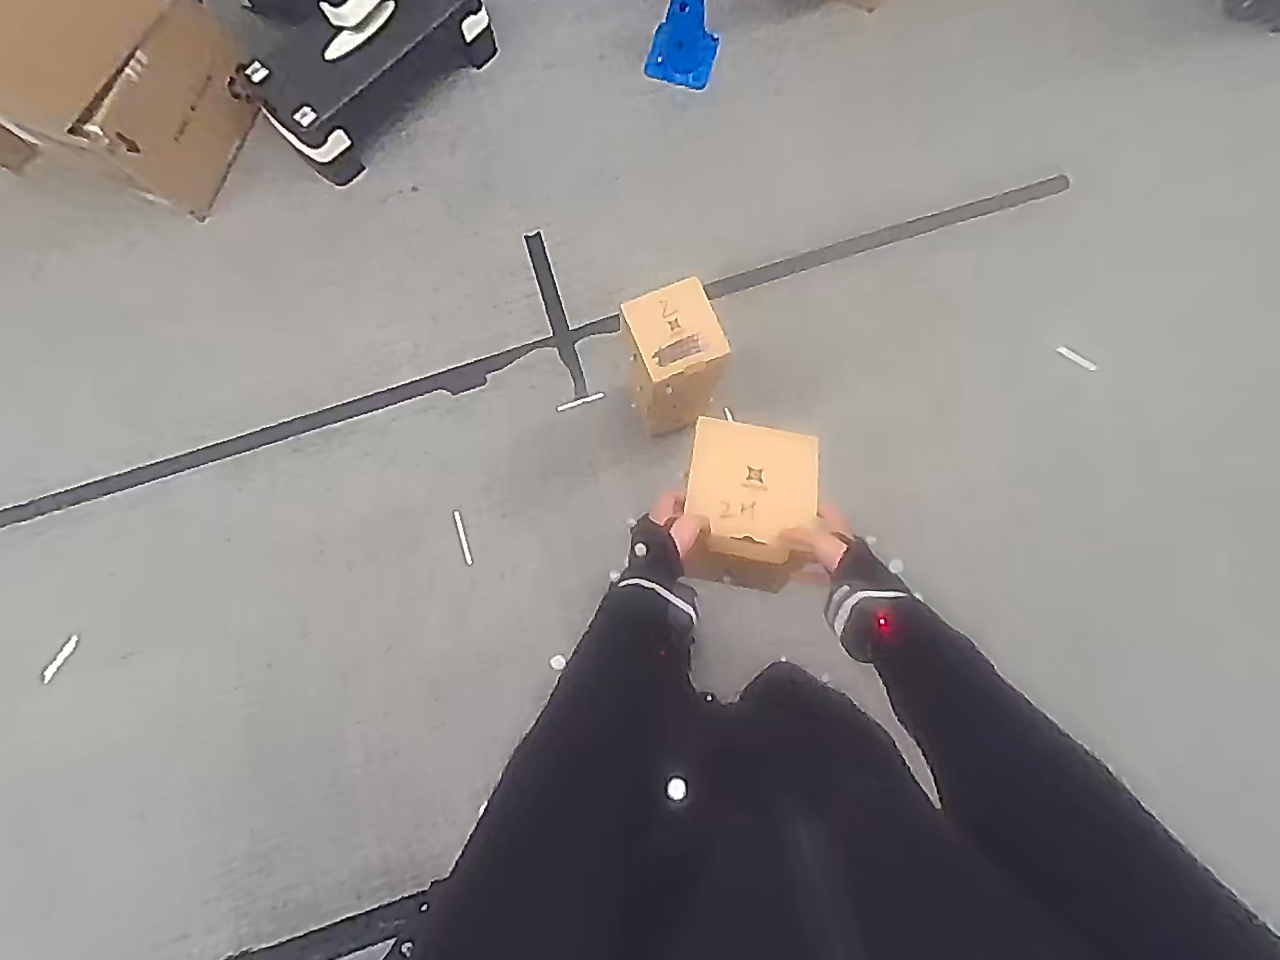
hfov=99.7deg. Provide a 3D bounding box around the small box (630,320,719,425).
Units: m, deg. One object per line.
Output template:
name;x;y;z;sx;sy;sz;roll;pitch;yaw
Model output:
small box;0.075;-0.249;1.288;0.168;0.176;0.179;-16;82;-3

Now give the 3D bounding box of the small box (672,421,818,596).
small box;0.141;0.045;0.763;0.168;0.176;0.179;10;63;3

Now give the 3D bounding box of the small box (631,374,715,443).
small box;0.082;-0.214;1.447;0.179;0.176;0.168;-20;82;-3
